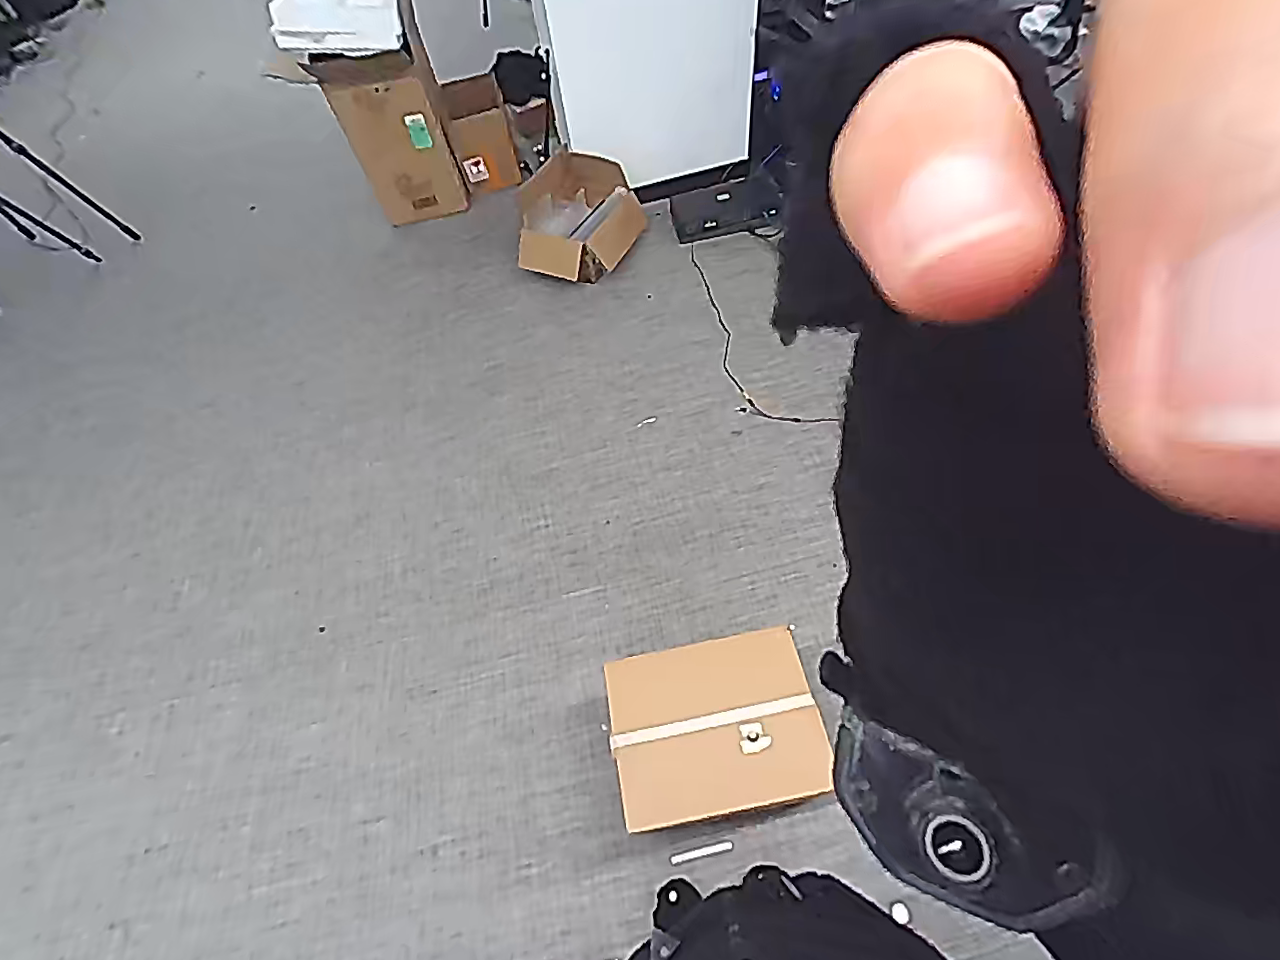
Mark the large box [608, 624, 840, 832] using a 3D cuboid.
[{"bbox_3d":[0.165,0.556,1.197,0.408,0.320,0.320,-12,56,-1],"label":"large box"}]
